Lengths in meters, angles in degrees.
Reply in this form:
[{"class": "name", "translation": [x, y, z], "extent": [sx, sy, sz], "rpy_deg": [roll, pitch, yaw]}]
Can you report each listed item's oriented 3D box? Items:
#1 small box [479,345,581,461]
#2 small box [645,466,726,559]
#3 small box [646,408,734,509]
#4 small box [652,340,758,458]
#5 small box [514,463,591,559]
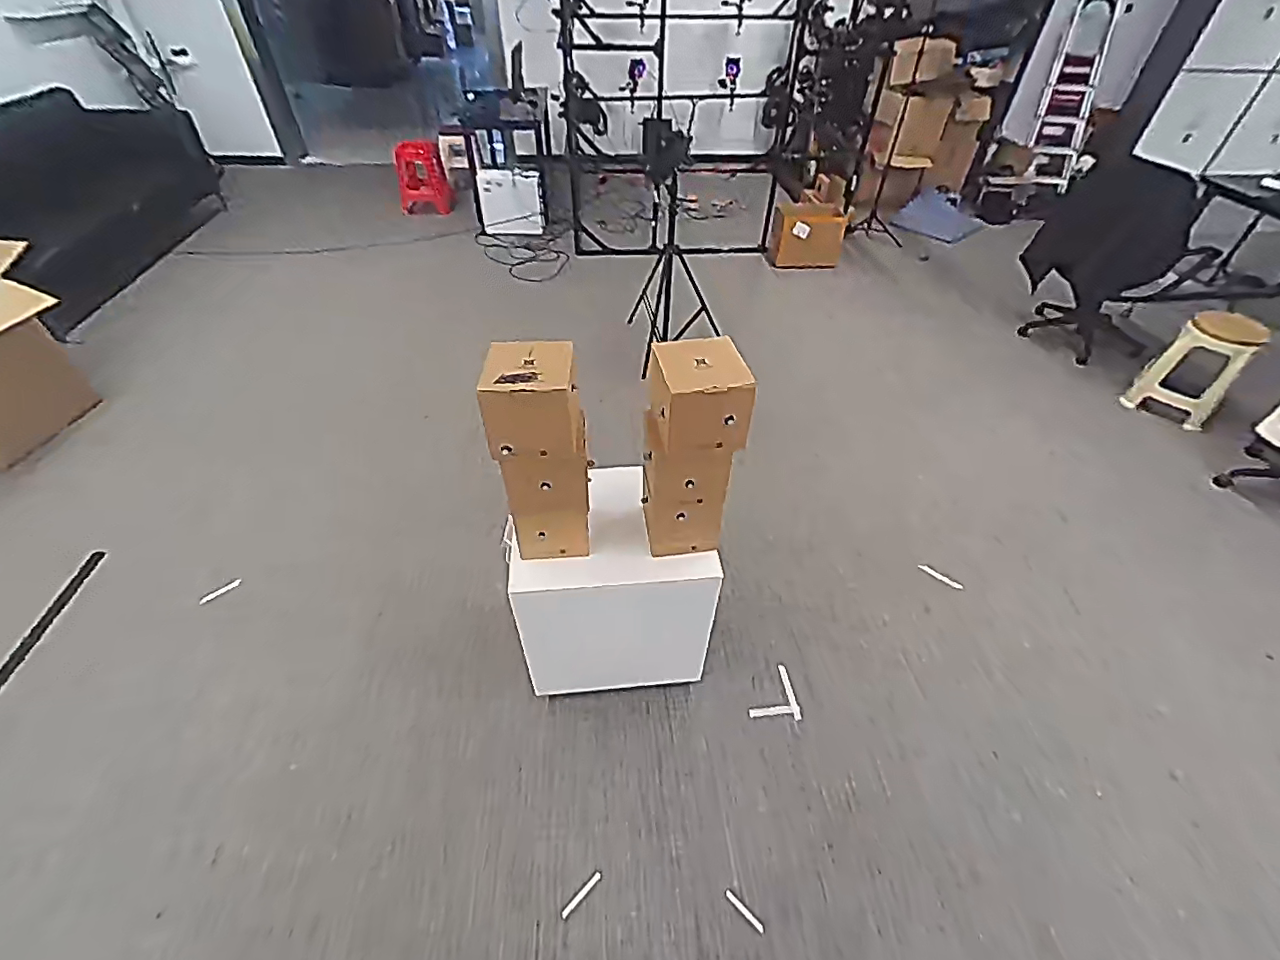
[{"class": "small box", "translation": [-0.207, -0.151, 1.076], "extent": [0.168, 0.176, 0.179], "rpy_deg": [-1, 44, -2]}, {"class": "small box", "translation": [0.103, 0.070, 1.324], "extent": [0.168, 0.176, 0.179], "rpy_deg": [-6, 45, -5]}, {"class": "small box", "translation": [0.104, -0.048, 1.209], "extent": [0.168, 0.176, 0.179], "rpy_deg": [-5, 45, -5]}, {"class": "small box", "translation": [0.121, -0.157, 1.087], "extent": [0.168, 0.176, 0.179], "rpy_deg": [-8, 45, -9]}, {"class": "small box", "translation": [-0.205, 0.080, 1.310], "extent": [0.168, 0.176, 0.179], "rpy_deg": [-2, 44, -5]}]
